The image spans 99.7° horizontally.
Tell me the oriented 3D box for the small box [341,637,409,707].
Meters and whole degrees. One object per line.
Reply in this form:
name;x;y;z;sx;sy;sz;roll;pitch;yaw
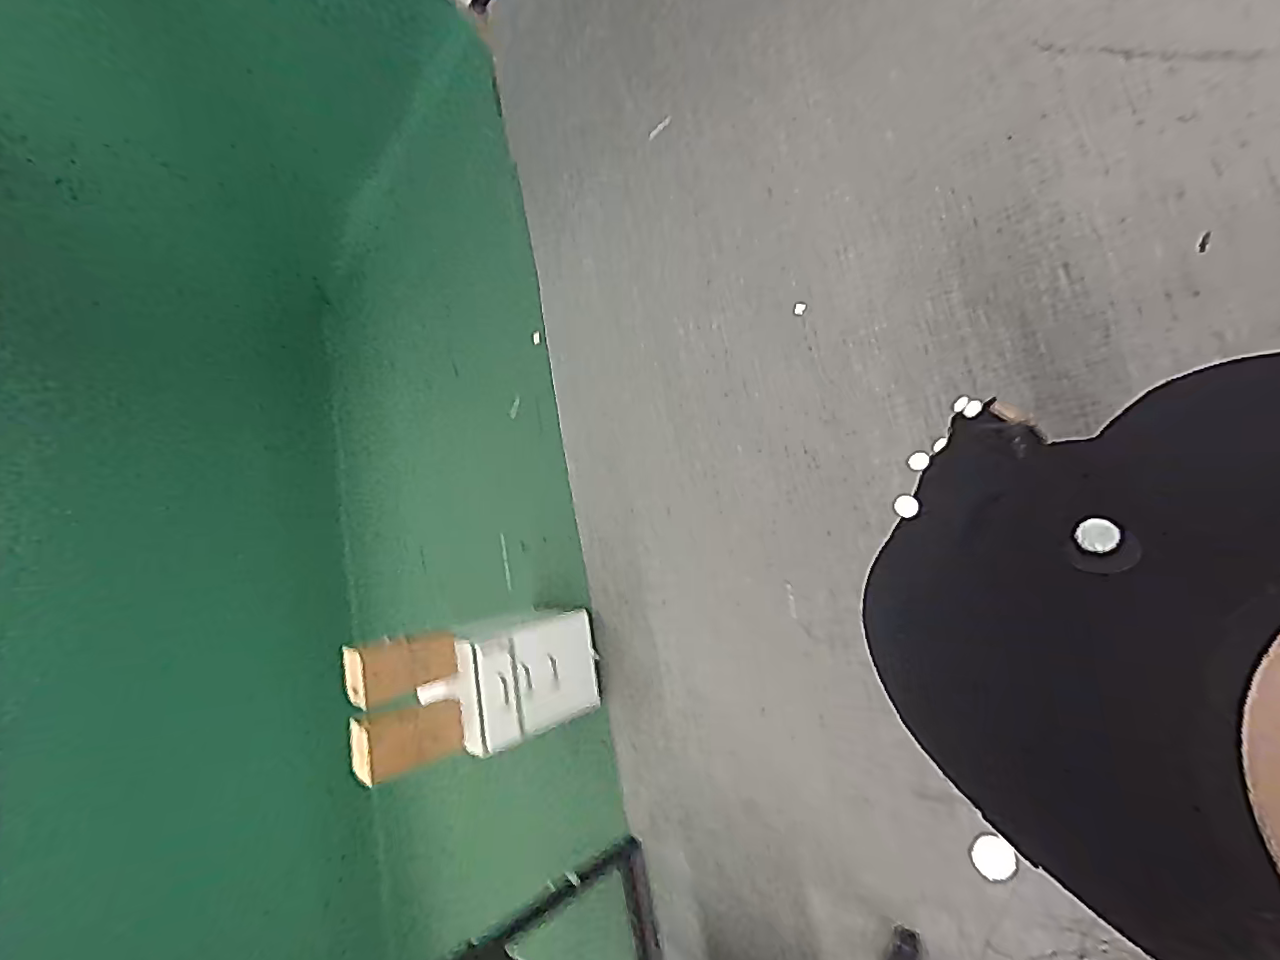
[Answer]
small box;-0.919;0.661;1.882;0.168;0.176;0.179;-10;85;44

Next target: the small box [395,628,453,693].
small box;-0.807;0.662;2.002;0.168;0.176;0.179;-9;86;44

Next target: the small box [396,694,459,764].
small box;-0.780;0.911;1.989;0.168;0.176;0.179;-14;82;44

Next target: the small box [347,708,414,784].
small box;-0.896;0.914;1.874;0.168;0.176;0.179;-12;81;45
